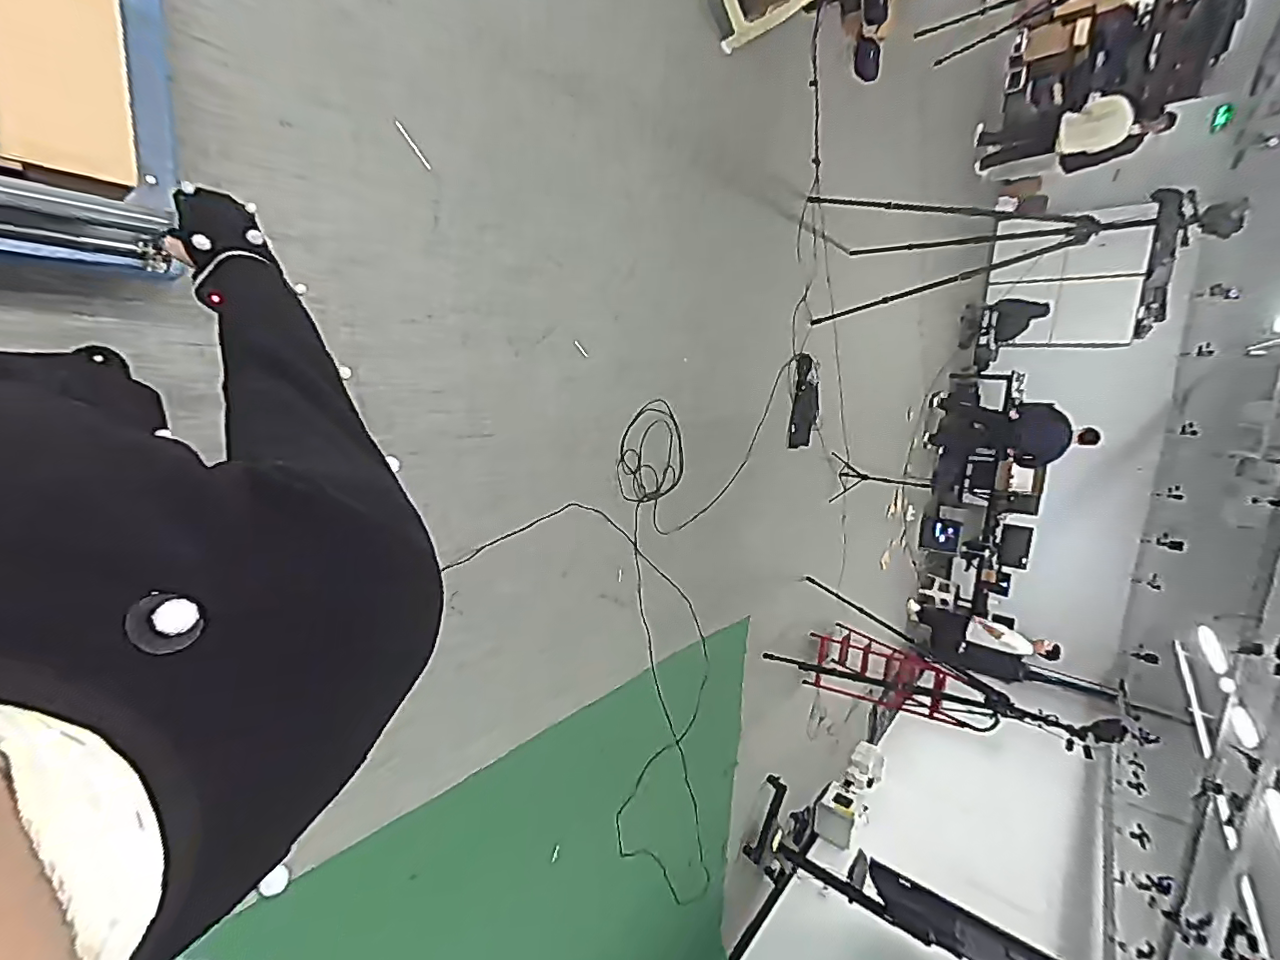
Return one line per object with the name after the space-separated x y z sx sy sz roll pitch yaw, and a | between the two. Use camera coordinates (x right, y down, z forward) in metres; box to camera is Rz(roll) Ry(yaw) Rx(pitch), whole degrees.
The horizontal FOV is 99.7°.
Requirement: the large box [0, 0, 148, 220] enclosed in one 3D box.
-0.972 -0.646 0.787 0.320 0.320 0.408 -10 105 -49 | large box
